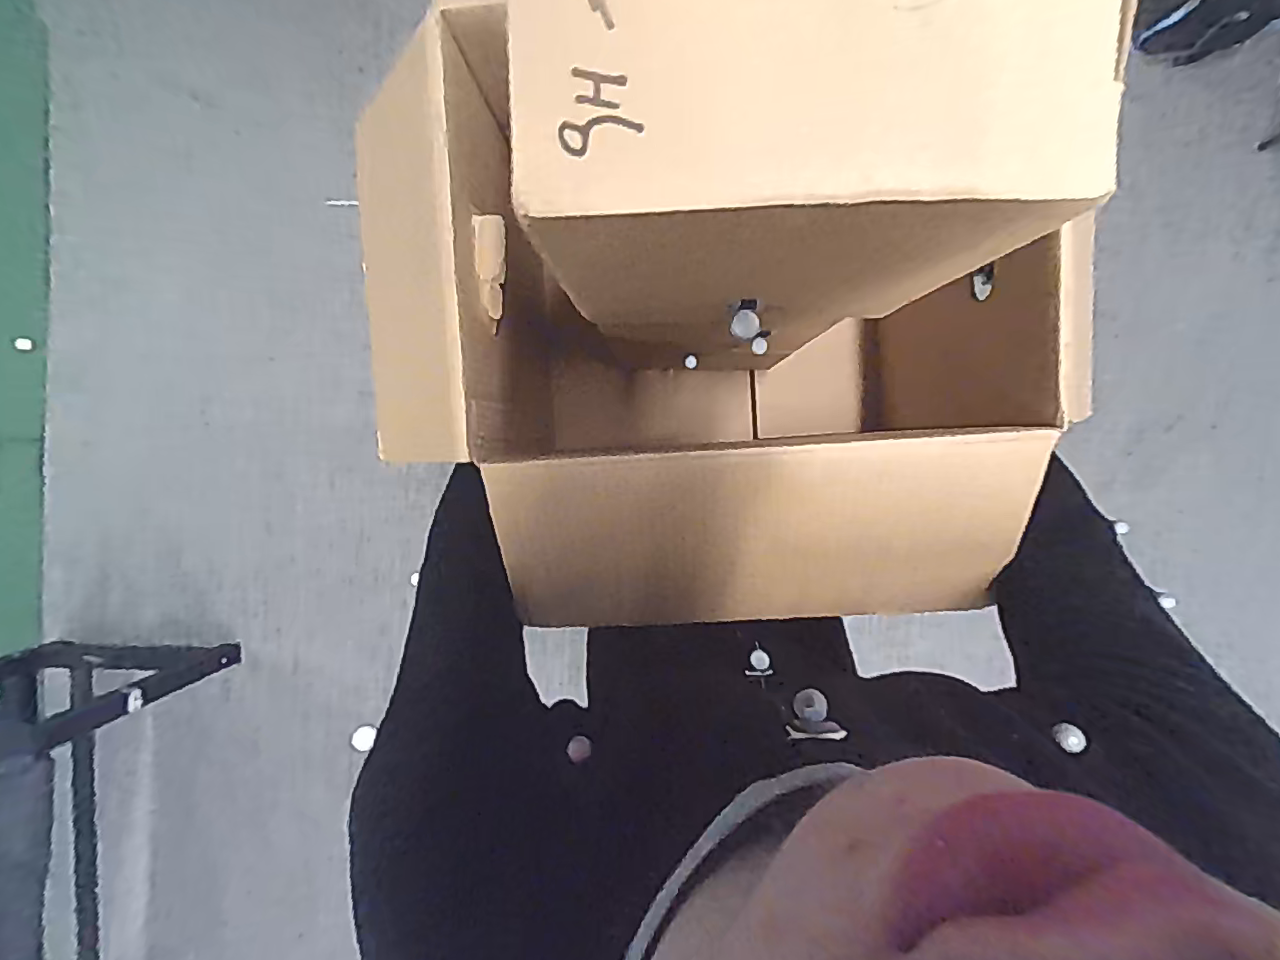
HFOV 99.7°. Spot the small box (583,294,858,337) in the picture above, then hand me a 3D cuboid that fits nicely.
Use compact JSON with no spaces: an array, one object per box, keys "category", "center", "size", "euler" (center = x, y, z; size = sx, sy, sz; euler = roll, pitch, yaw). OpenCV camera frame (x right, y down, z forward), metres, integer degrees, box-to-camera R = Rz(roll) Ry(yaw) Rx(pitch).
[{"category":"small box","center":[0.052,-0.200,0.372],"size":[0.168,0.176,0.179],"euler":[3,96,1]}]

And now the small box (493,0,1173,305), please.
[{"category":"small box","center":[0.049,-0.170,0.212],"size":[0.179,0.176,0.168],"euler":[0,97,1]}]
